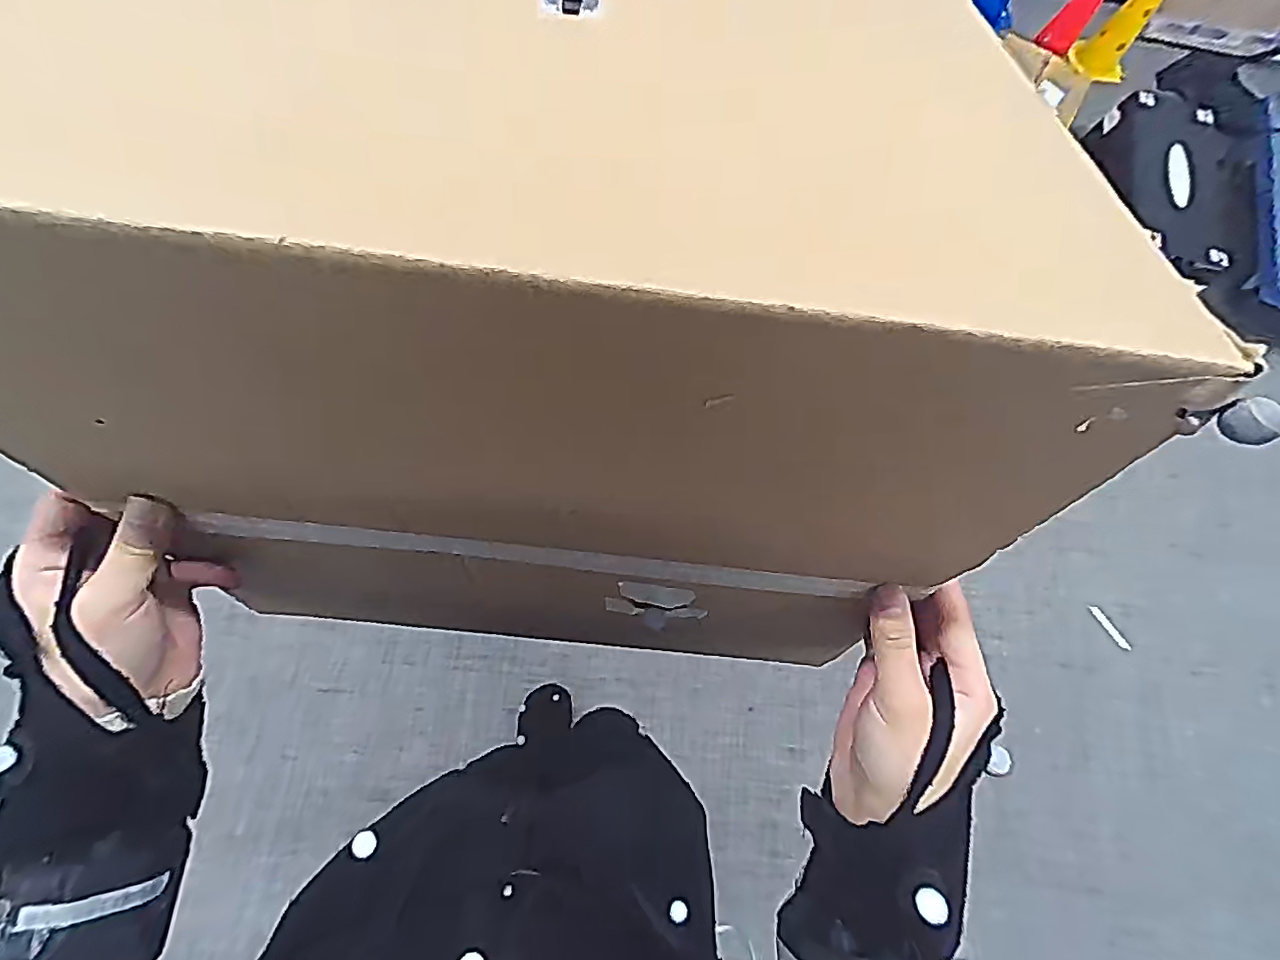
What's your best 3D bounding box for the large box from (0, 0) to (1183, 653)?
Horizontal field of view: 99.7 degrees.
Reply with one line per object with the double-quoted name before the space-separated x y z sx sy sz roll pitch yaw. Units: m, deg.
"large box" -0.046 -0.096 0.352 0.408 0.320 0.320 6 58 -3
